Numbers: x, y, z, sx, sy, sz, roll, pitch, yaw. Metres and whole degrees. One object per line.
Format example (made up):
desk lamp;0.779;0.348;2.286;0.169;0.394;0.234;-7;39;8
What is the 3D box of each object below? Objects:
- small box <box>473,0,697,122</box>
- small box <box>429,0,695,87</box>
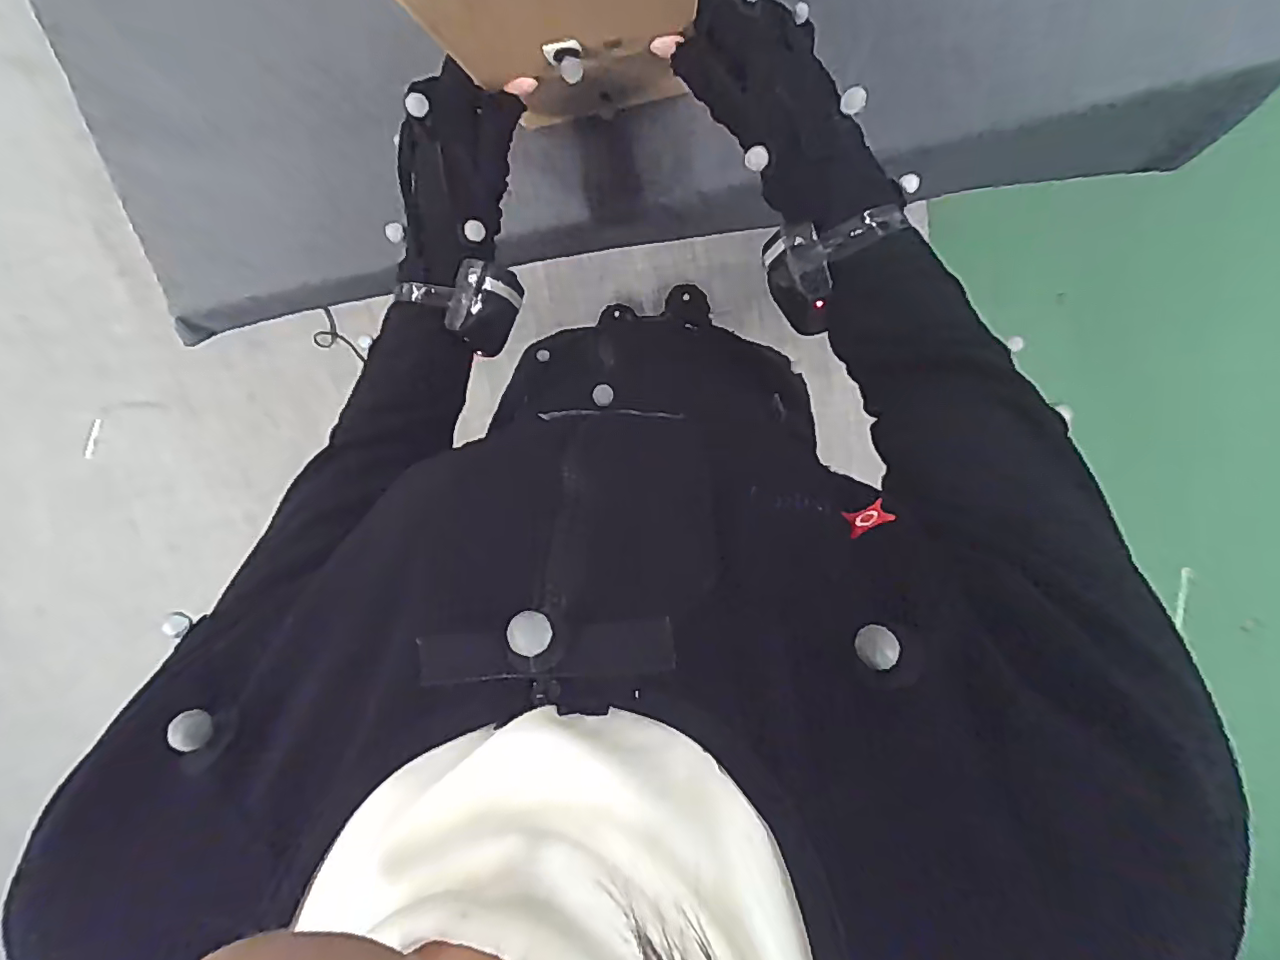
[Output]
small box;-0.056;-0.436;0.459;0.179;0.176;0.168;-10;108;5
small box;-0.062;-0.371;0.310;0.168;0.176;0.179;-12;109;8
